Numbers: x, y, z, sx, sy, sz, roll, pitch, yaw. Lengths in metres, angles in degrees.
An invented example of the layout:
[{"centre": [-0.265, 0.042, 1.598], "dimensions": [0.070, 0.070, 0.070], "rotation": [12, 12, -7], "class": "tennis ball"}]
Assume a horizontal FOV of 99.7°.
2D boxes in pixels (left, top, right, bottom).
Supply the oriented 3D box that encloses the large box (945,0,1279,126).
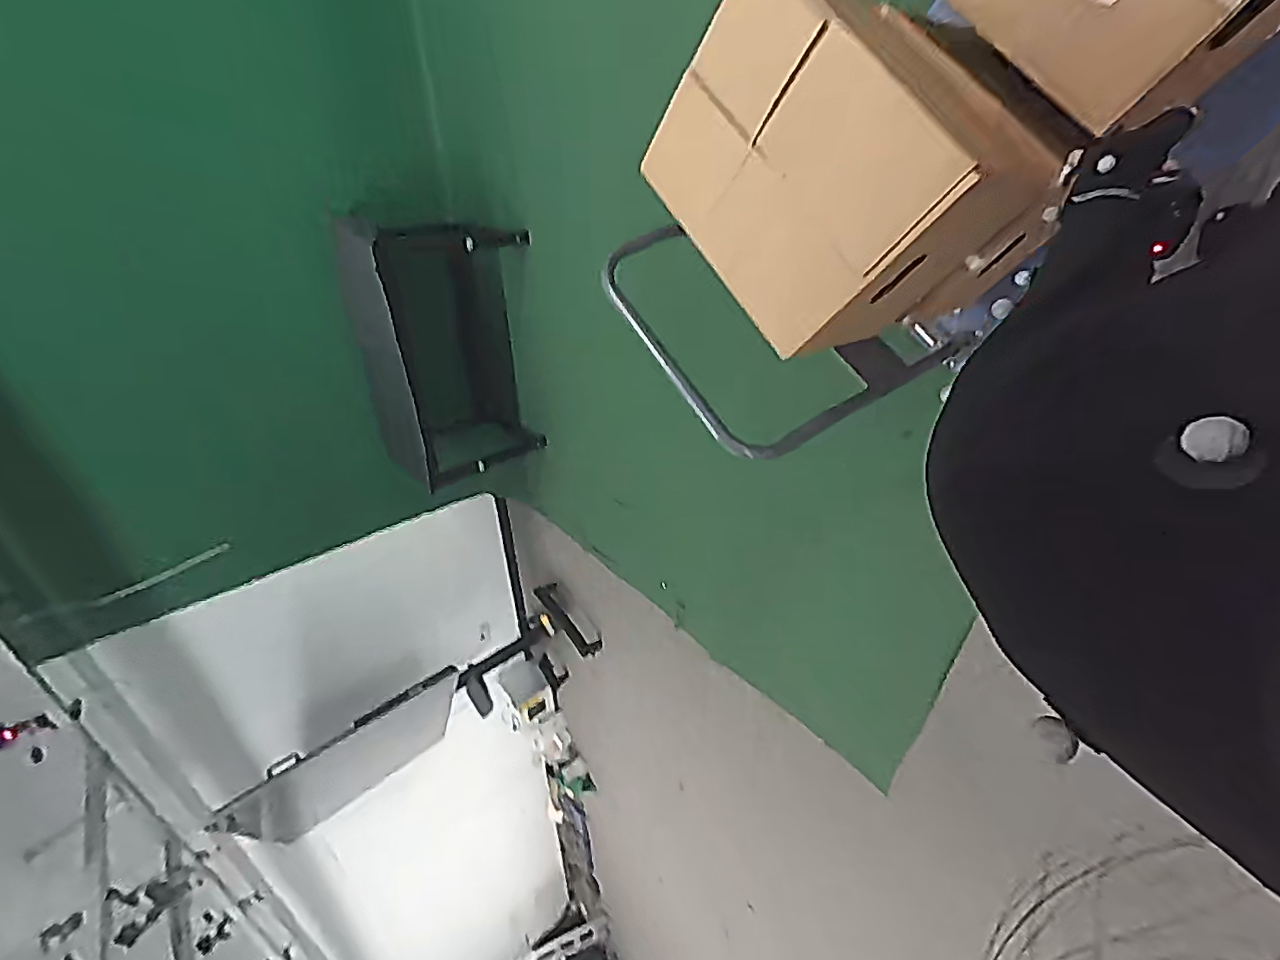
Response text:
[{"centre": [0.656, -0.748, 0.717], "dimensions": [0.408, 0.320, 0.320], "rotation": [55, 146, 13], "class": "large box"}]
